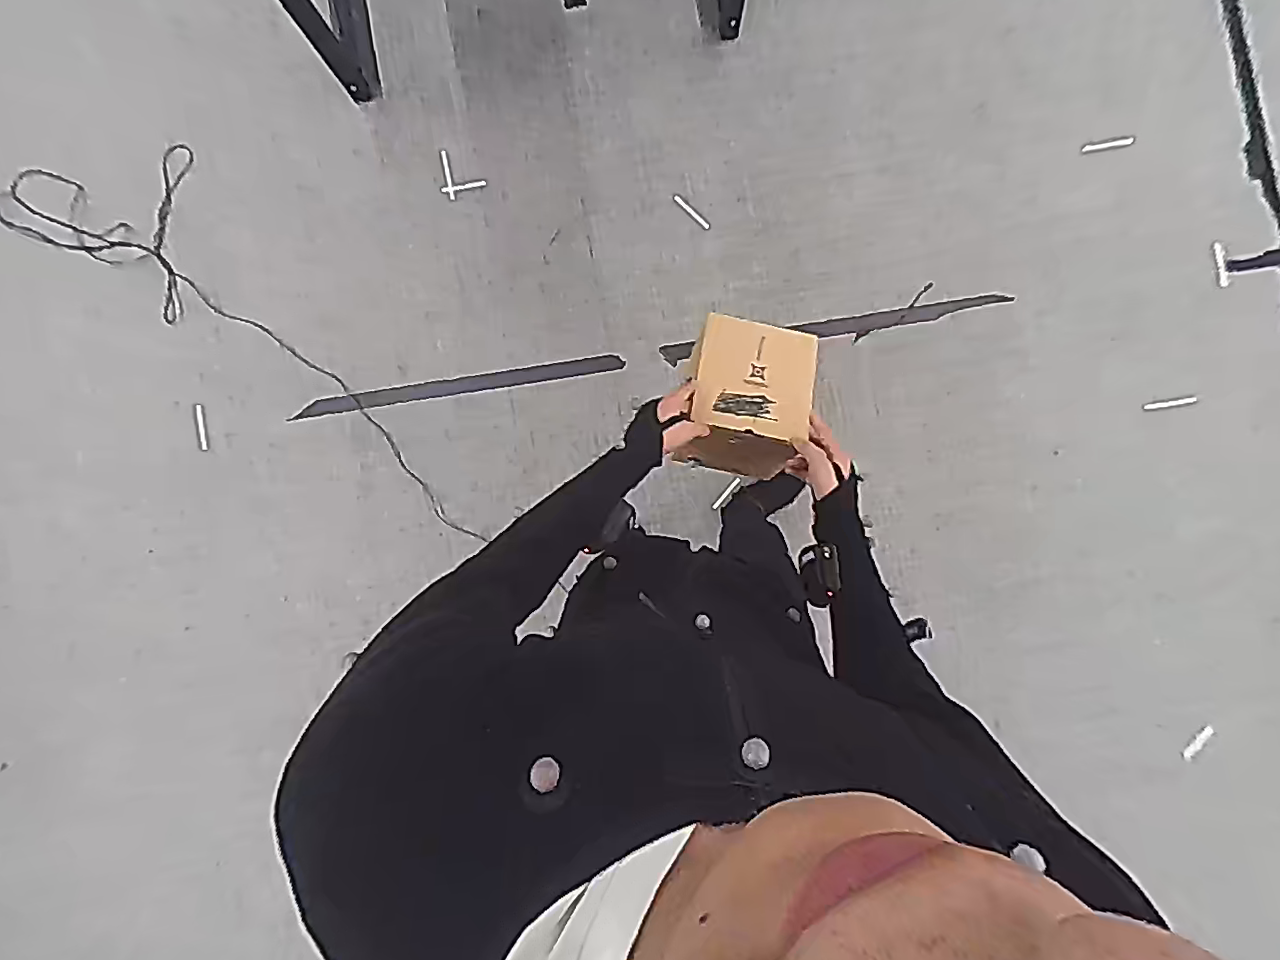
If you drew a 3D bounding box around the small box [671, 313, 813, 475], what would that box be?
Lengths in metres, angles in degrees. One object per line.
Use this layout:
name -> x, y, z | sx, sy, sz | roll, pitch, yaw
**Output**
small box -> 0.147, -0.120, 0.825 | 0.168, 0.176, 0.179 | 11, 72, -3
